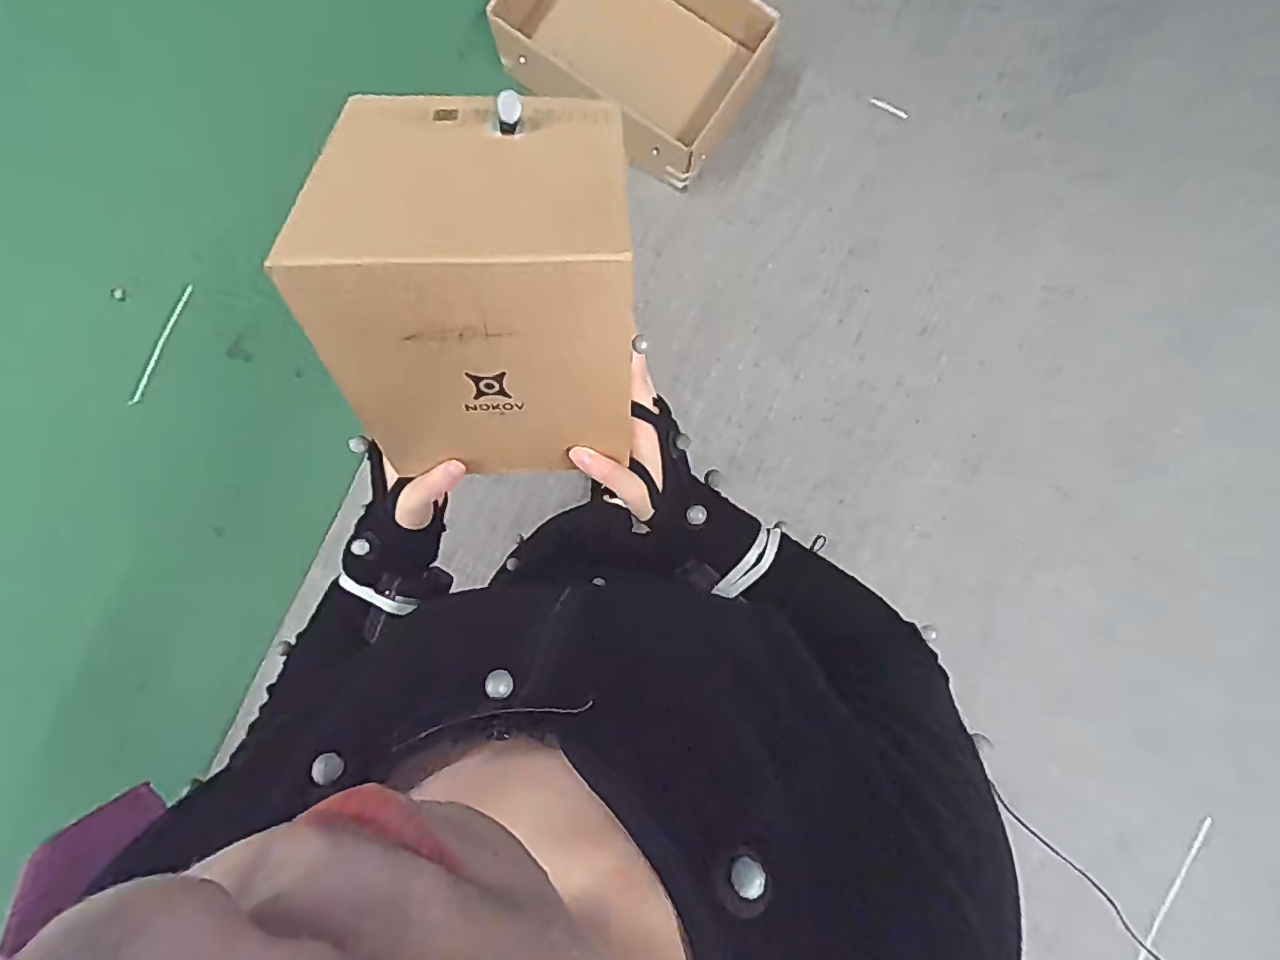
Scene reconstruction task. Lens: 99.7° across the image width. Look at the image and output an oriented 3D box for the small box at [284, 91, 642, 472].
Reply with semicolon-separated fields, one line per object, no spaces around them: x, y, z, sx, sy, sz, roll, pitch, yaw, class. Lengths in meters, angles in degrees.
-0.088;-0.122;0.361;0.168;0.179;0.176;-2;56;-4;small box
